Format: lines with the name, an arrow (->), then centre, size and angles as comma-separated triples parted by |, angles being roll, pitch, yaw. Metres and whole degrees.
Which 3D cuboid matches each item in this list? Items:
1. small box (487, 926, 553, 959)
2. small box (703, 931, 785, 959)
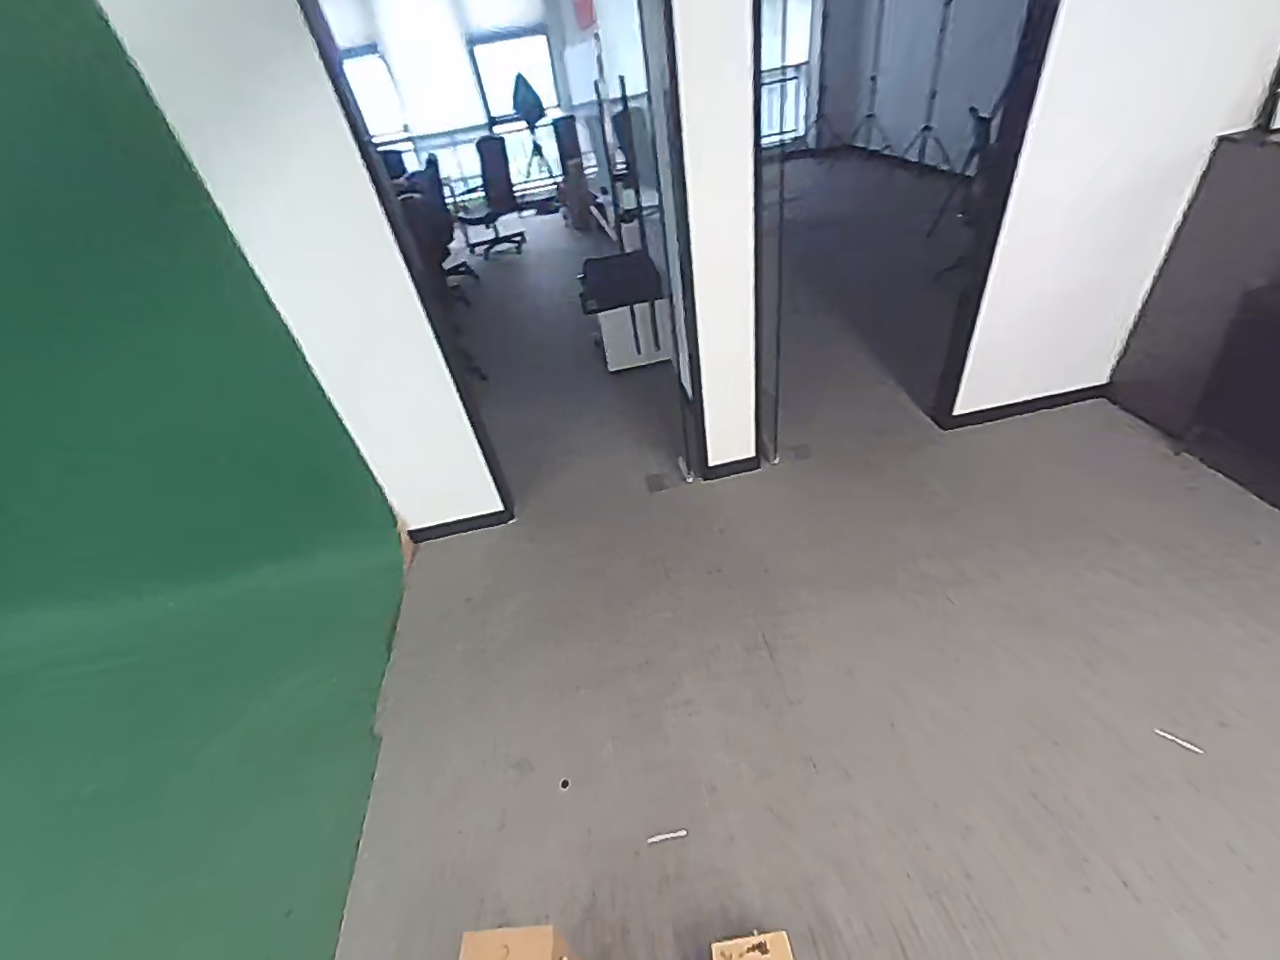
small box -> -0.222, 1.026, 1.050 | 0.179, 0.176, 0.168 | 14, 46, 27
small box -> 0.232, 1.084, 1.134 | 0.168, 0.176, 0.179 | -9, 39, 0
